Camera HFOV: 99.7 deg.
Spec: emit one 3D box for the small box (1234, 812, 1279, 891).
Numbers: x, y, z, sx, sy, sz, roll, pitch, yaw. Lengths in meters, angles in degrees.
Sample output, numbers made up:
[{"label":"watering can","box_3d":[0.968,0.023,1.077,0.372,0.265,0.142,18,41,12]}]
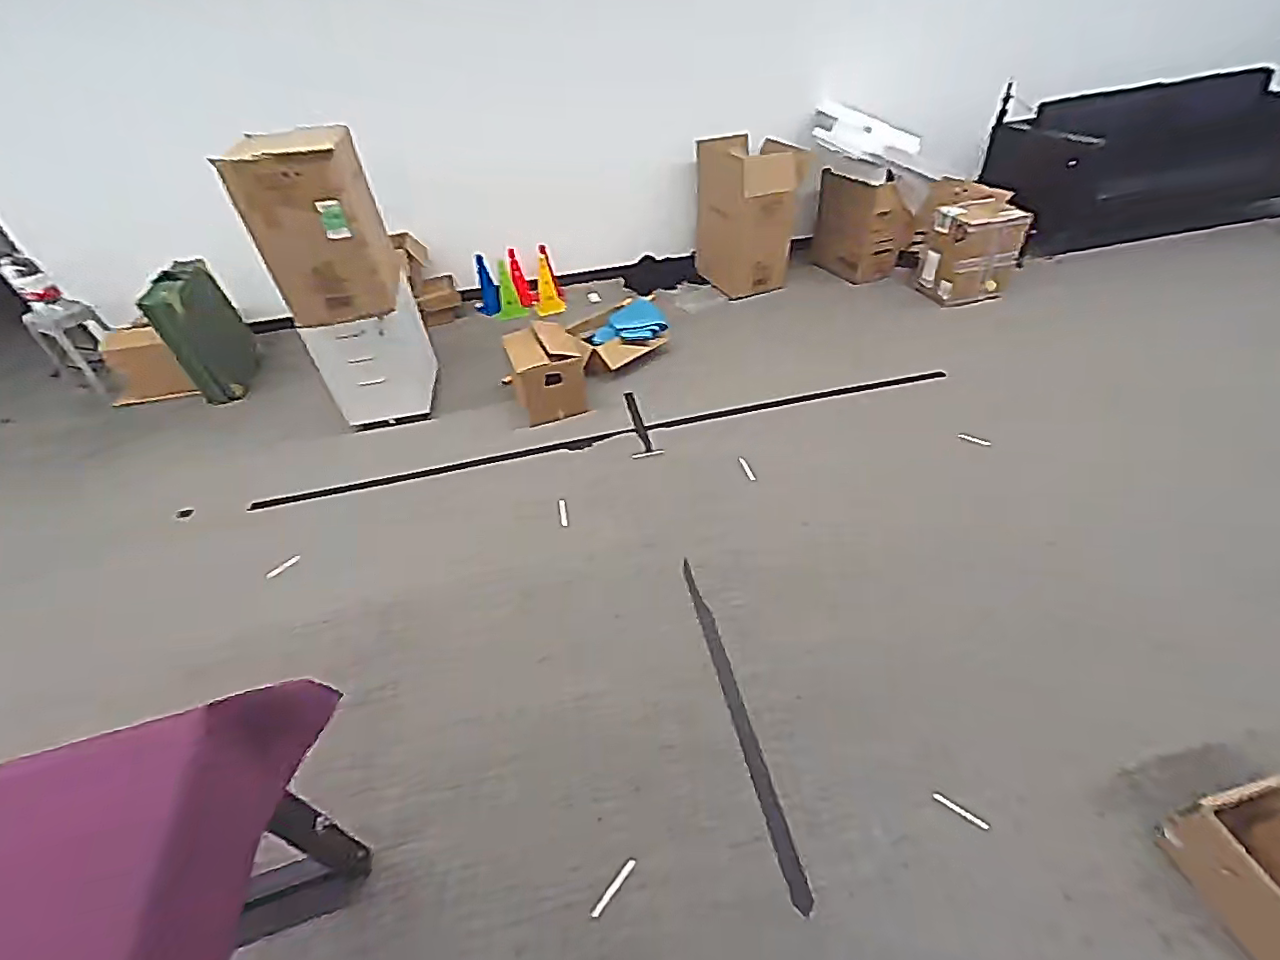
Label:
[{"label":"small box","box_3d":[1.410,0.778,1.100,0.168,0.176,0.179,-10,41,-5]}]
